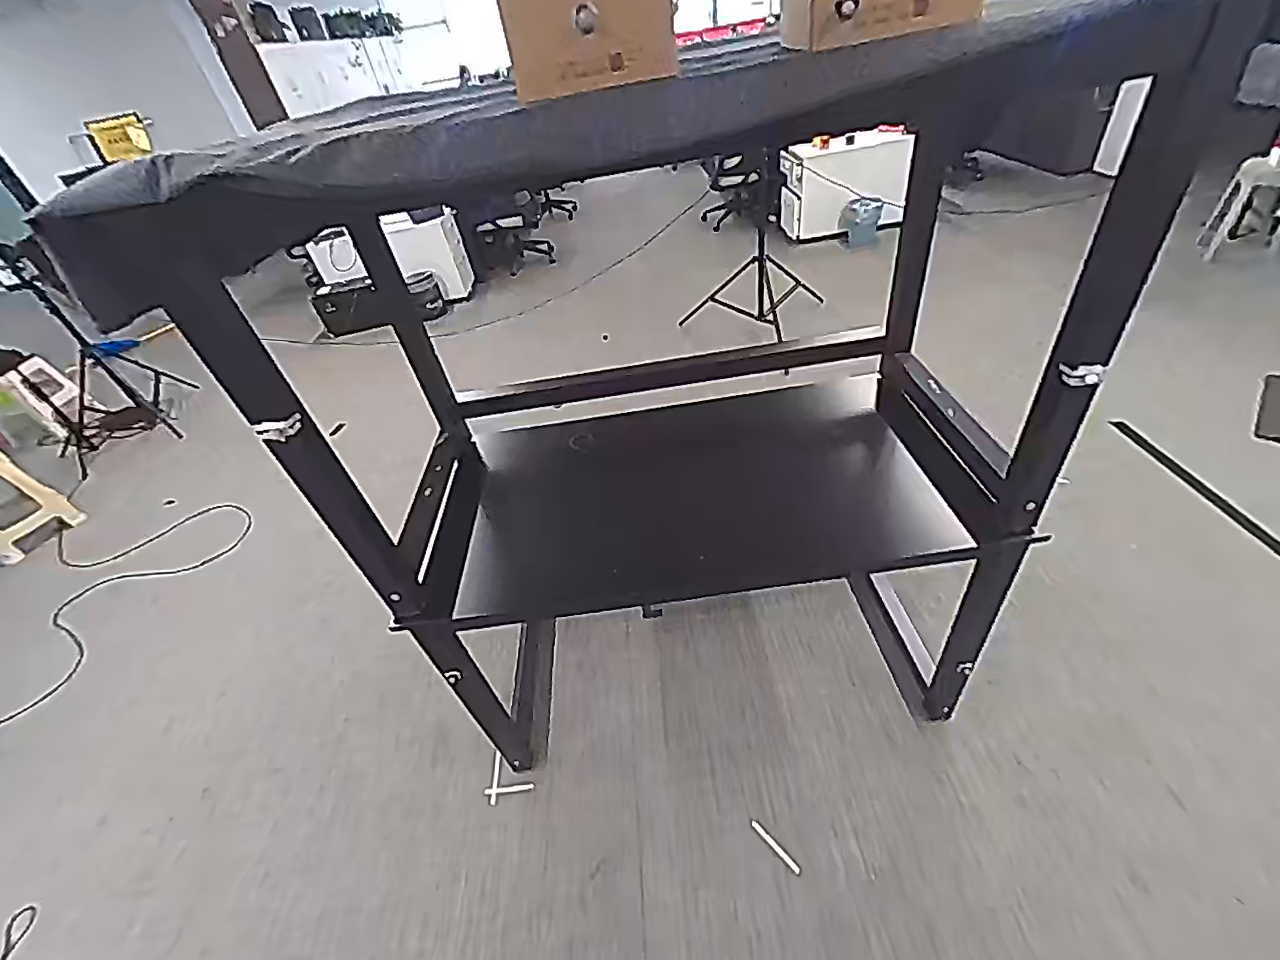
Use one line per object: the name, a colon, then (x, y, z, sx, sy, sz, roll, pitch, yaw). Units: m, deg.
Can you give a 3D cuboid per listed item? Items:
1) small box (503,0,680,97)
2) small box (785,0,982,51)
small box: (-0.051, -0.513, 0.562, 0.168, 0.176, 0.179, -8, 38, 5)
small box: (0.244, -0.556, 0.548, 0.168, 0.176, 0.179, -6, 38, 7)
